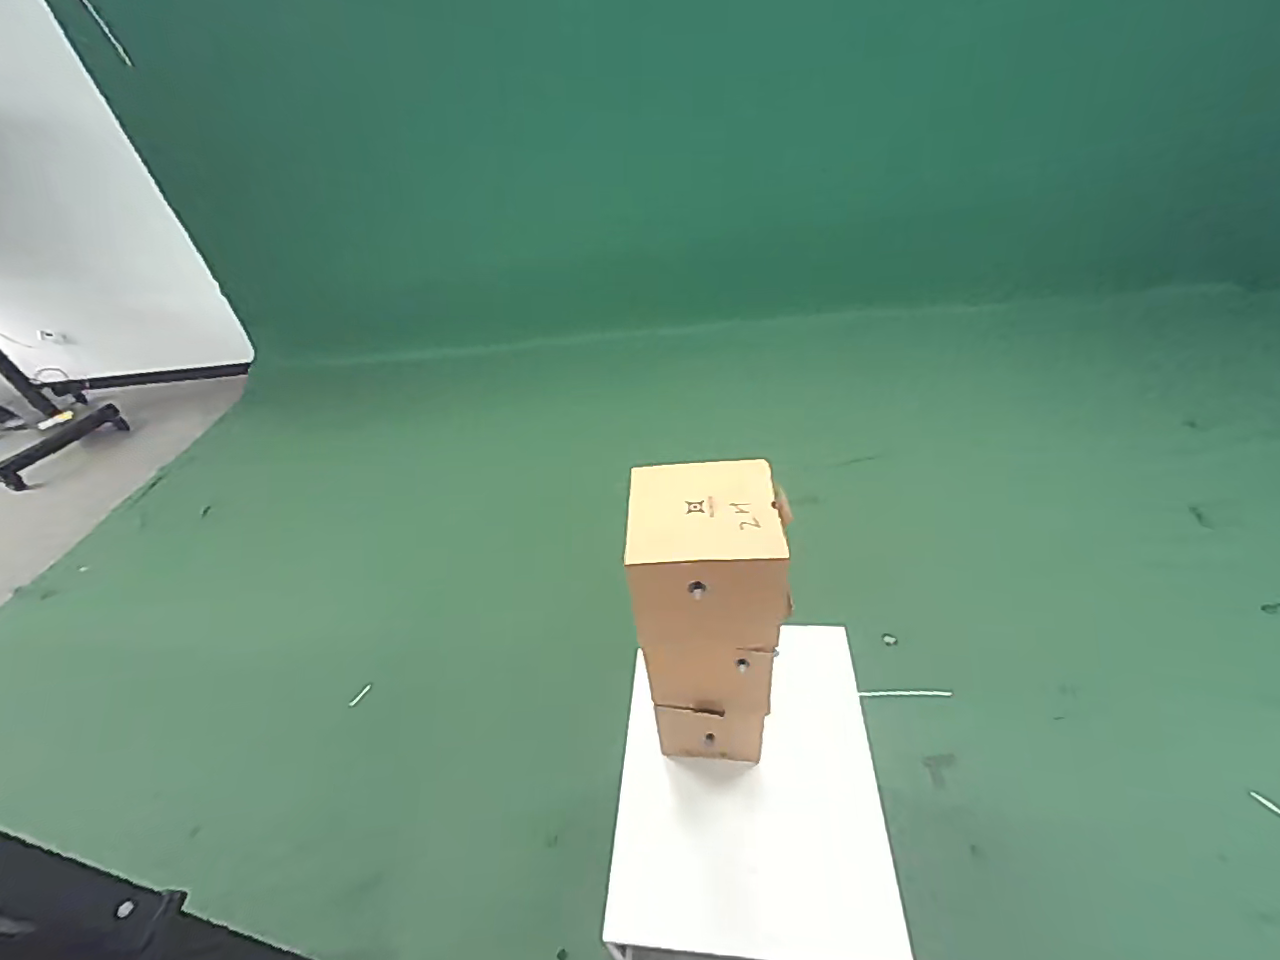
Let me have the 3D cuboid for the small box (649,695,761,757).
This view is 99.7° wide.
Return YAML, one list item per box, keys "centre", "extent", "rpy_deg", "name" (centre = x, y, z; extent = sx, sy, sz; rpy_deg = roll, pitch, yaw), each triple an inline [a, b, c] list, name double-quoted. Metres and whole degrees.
- centre: [0.112, 0.332, 0.888]
  extent: [0.168, 0.176, 0.179]
  rpy_deg: [0, 41, 9]
  name: "small box"

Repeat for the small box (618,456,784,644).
- centre: [0.075, 0.089, 0.672]
  extent: [0.179, 0.176, 0.168]
  rpy_deg: [-3, 41, 5]
  name: "small box"

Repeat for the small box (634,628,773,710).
- centre: [0.098, 0.210, 0.781]
  extent: [0.179, 0.176, 0.168]
  rpy_deg: [2, 41, 11]
  name: "small box"
